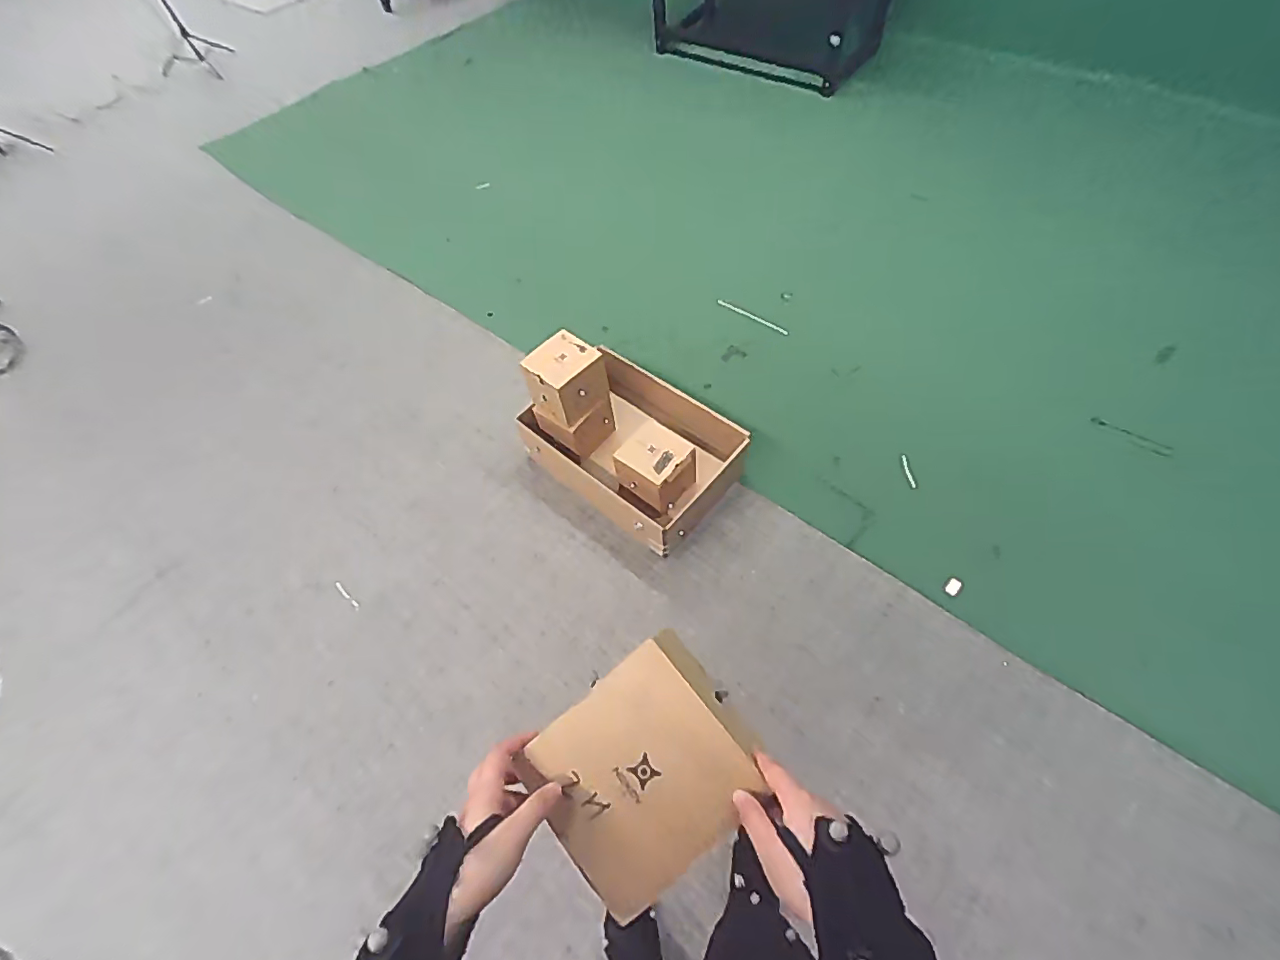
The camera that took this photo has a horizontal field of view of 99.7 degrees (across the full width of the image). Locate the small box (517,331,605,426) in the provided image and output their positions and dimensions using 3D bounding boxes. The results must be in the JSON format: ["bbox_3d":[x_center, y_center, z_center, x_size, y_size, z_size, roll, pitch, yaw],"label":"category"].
[{"bbox_3d":[-0.218,-0.286,1.552,0.168,0.176,0.179,37,69,24],"label":"small box"}]

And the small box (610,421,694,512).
[{"bbox_3d":[0.041,-0.032,1.564,0.179,0.176,0.168,34,67,24],"label":"small box"}]
